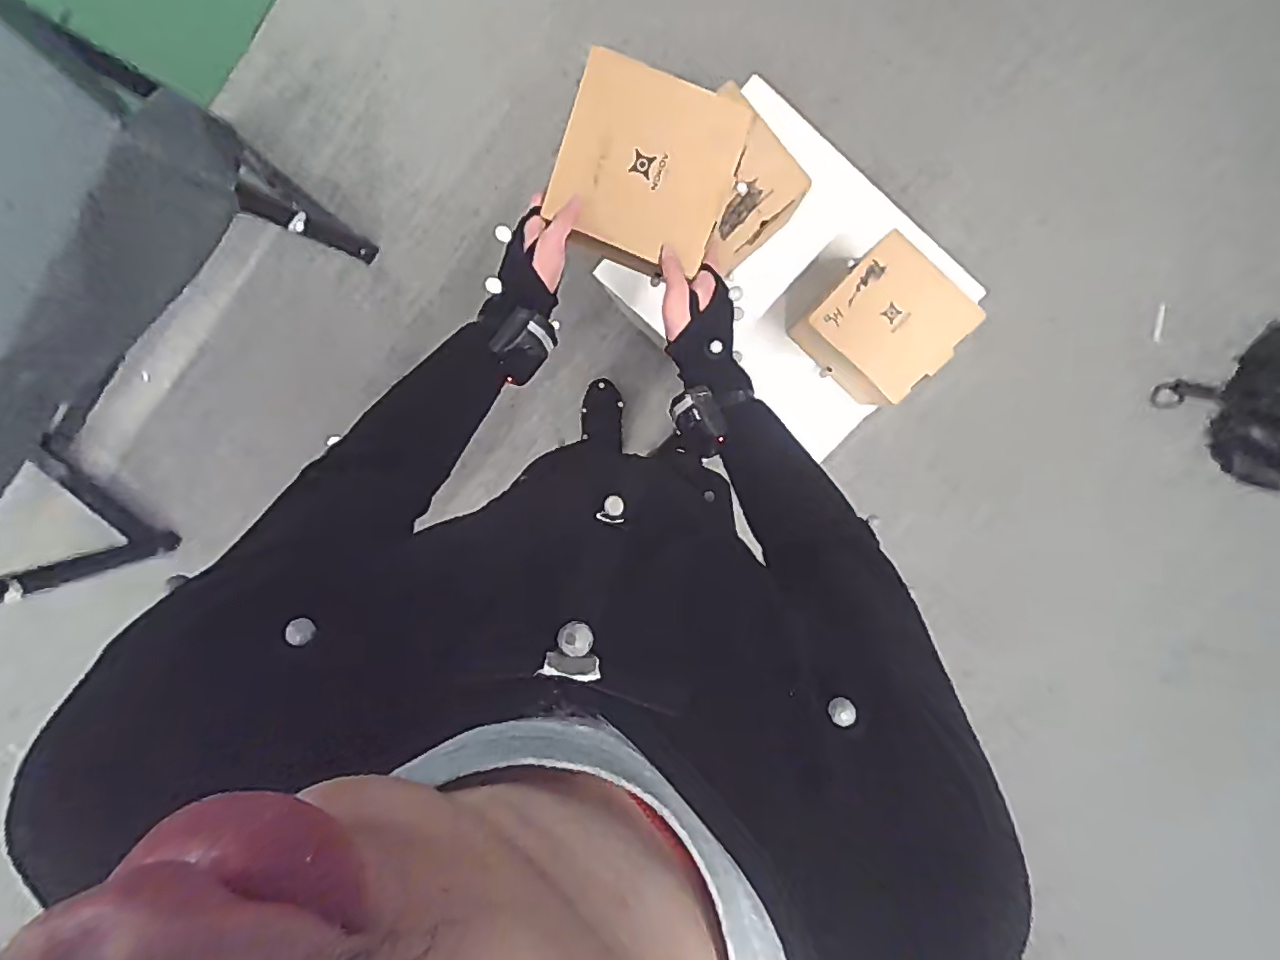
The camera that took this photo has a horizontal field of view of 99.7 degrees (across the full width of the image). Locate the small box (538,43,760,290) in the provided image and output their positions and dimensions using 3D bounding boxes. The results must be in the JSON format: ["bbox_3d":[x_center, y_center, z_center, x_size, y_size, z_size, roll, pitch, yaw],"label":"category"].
[{"bbox_3d":[0.010,-0.324,0.603,0.179,0.176,0.168,21,102,-1],"label":"small box"}]

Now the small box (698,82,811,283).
[{"bbox_3d":[0.116,-0.414,0.795,0.168,0.176,0.179,-39,94,7],"label":"small box"}]

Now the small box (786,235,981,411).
[{"bbox_3d":[0.348,-0.223,0.810,0.179,0.176,0.168,44,98,-3],"label":"small box"}]
